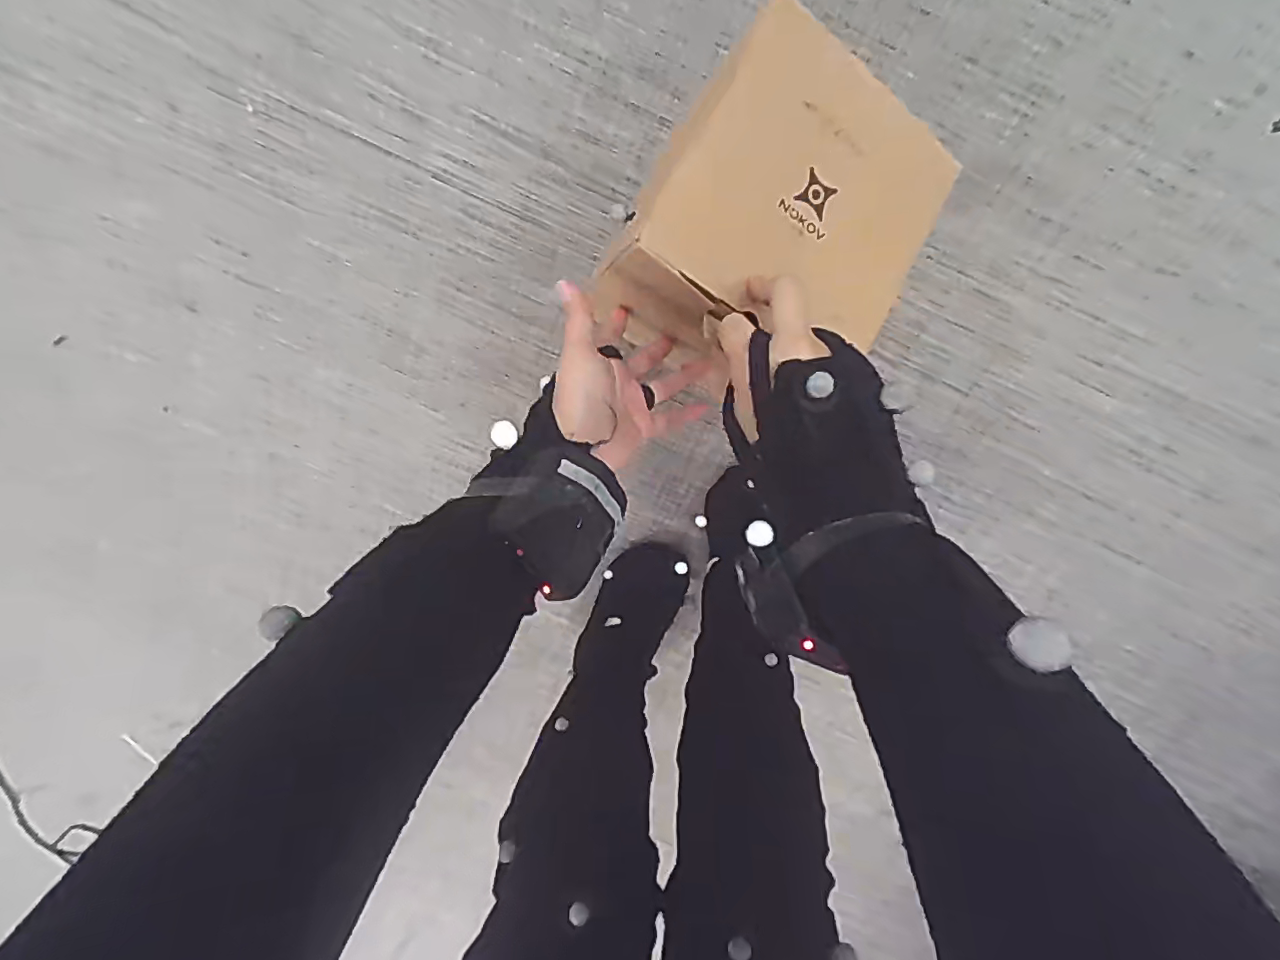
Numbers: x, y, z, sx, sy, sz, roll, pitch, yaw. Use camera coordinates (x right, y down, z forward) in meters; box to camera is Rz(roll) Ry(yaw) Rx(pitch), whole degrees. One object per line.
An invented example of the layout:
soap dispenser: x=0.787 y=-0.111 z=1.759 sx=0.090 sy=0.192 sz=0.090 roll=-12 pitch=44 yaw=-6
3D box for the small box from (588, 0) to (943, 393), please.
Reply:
small box: x=0.075 y=-0.179 z=0.412 sx=0.168 sy=0.176 sz=0.179 roll=29 pitch=86 yaw=-19
